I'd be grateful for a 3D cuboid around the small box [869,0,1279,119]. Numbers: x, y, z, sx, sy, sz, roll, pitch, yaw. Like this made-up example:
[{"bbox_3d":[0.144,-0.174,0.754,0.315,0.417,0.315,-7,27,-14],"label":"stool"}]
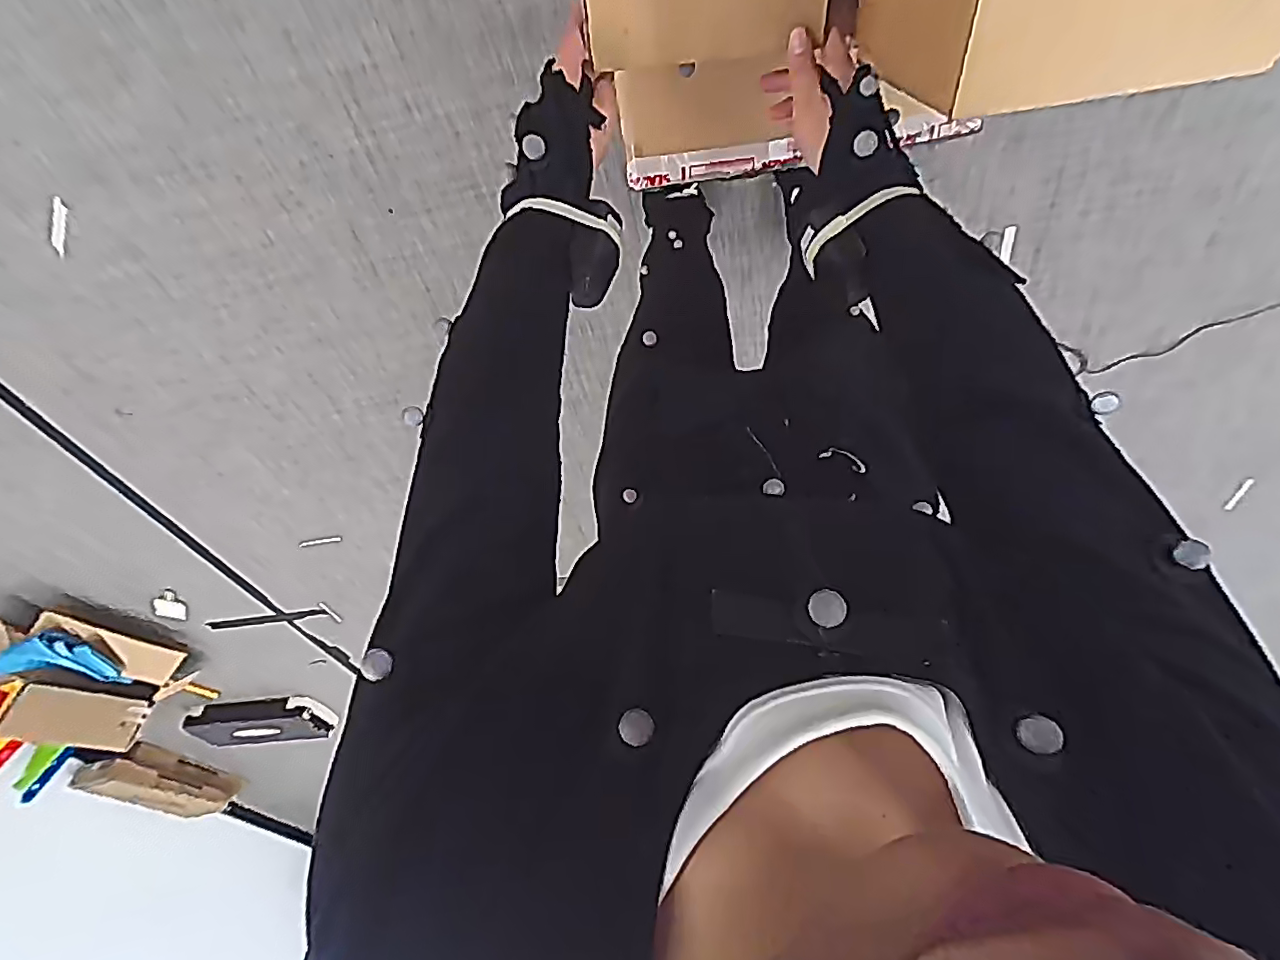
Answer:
[{"bbox_3d":[0.237,-0.324,0.287,0.168,0.176,0.179,-7,135,5],"label":"small box"}]
